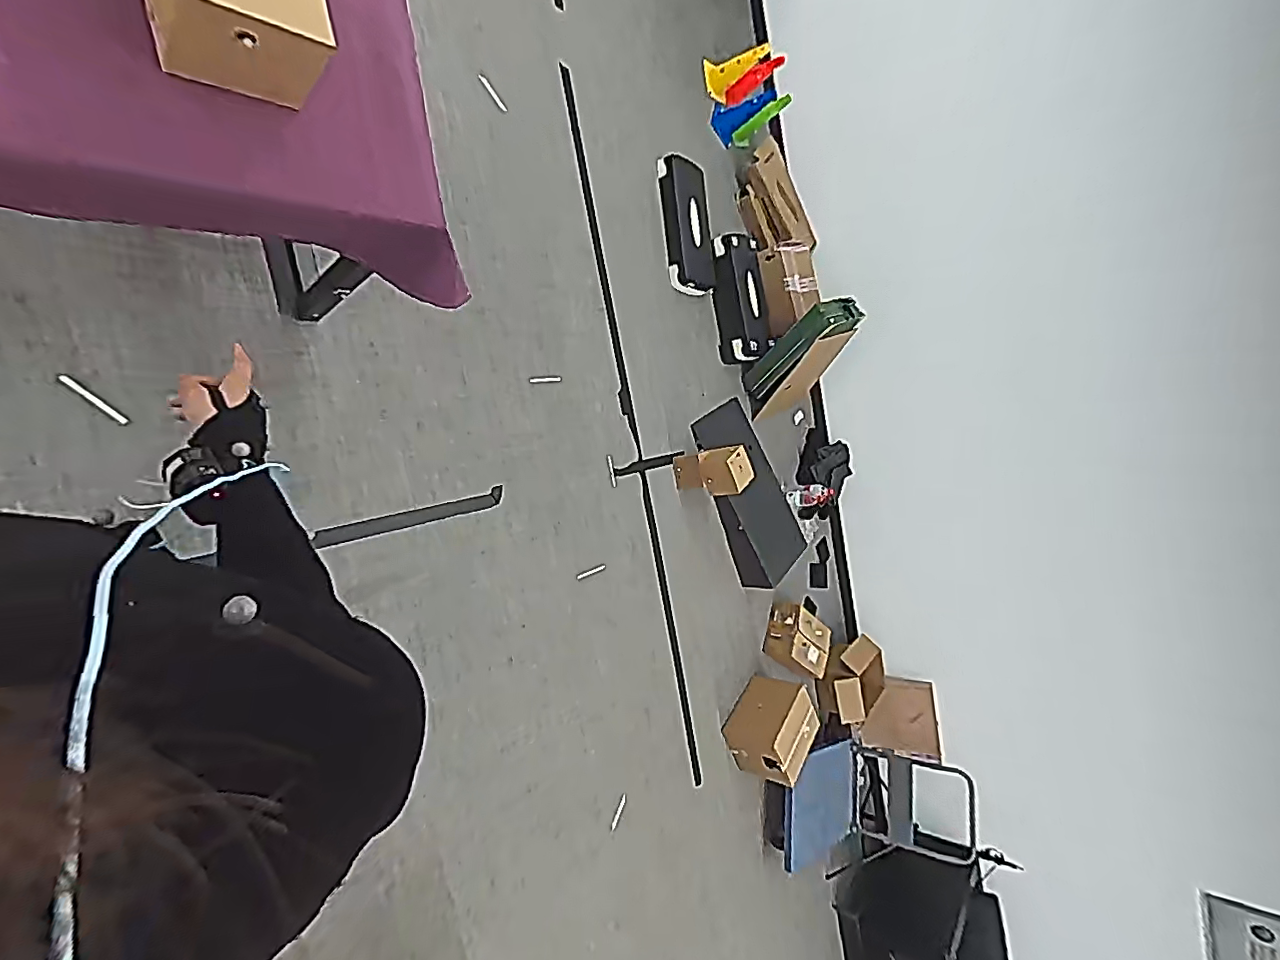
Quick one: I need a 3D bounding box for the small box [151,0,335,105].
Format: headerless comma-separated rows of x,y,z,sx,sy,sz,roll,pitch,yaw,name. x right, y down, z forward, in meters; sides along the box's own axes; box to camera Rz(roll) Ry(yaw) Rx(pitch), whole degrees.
-0.561,-0.666,0.751,0.179,0.176,0.168,-16,98,-47,small box
